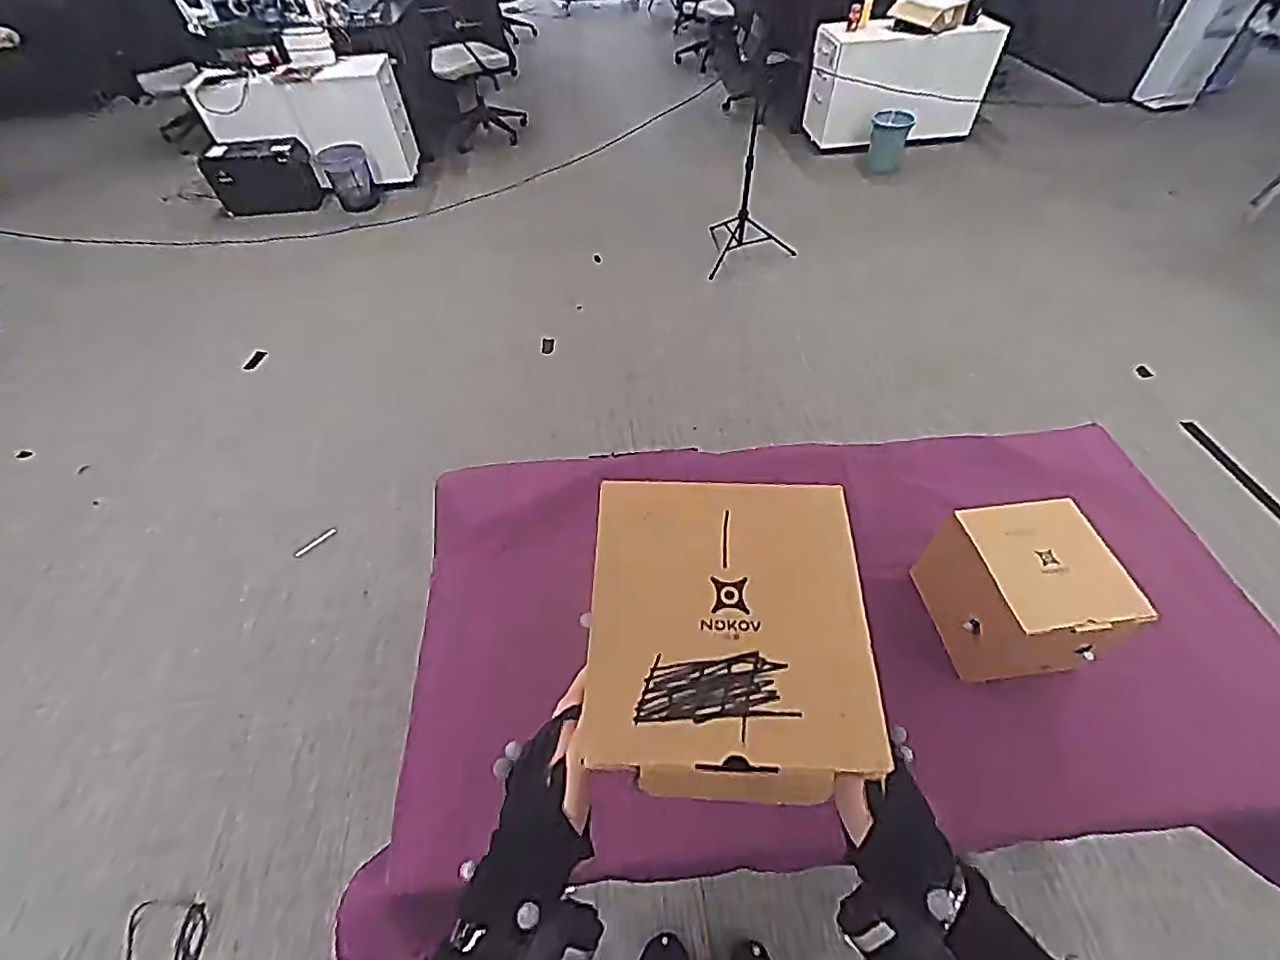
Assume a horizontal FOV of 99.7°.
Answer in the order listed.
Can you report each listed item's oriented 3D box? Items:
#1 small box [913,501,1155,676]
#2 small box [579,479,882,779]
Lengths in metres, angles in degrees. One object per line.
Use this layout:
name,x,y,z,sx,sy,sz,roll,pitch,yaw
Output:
small box,0.506,0.153,0.730,0.168,0.176,0.179,-6,51,-3
small box,0.053,0.116,0.398,0.168,0.176,0.179,2,61,1
